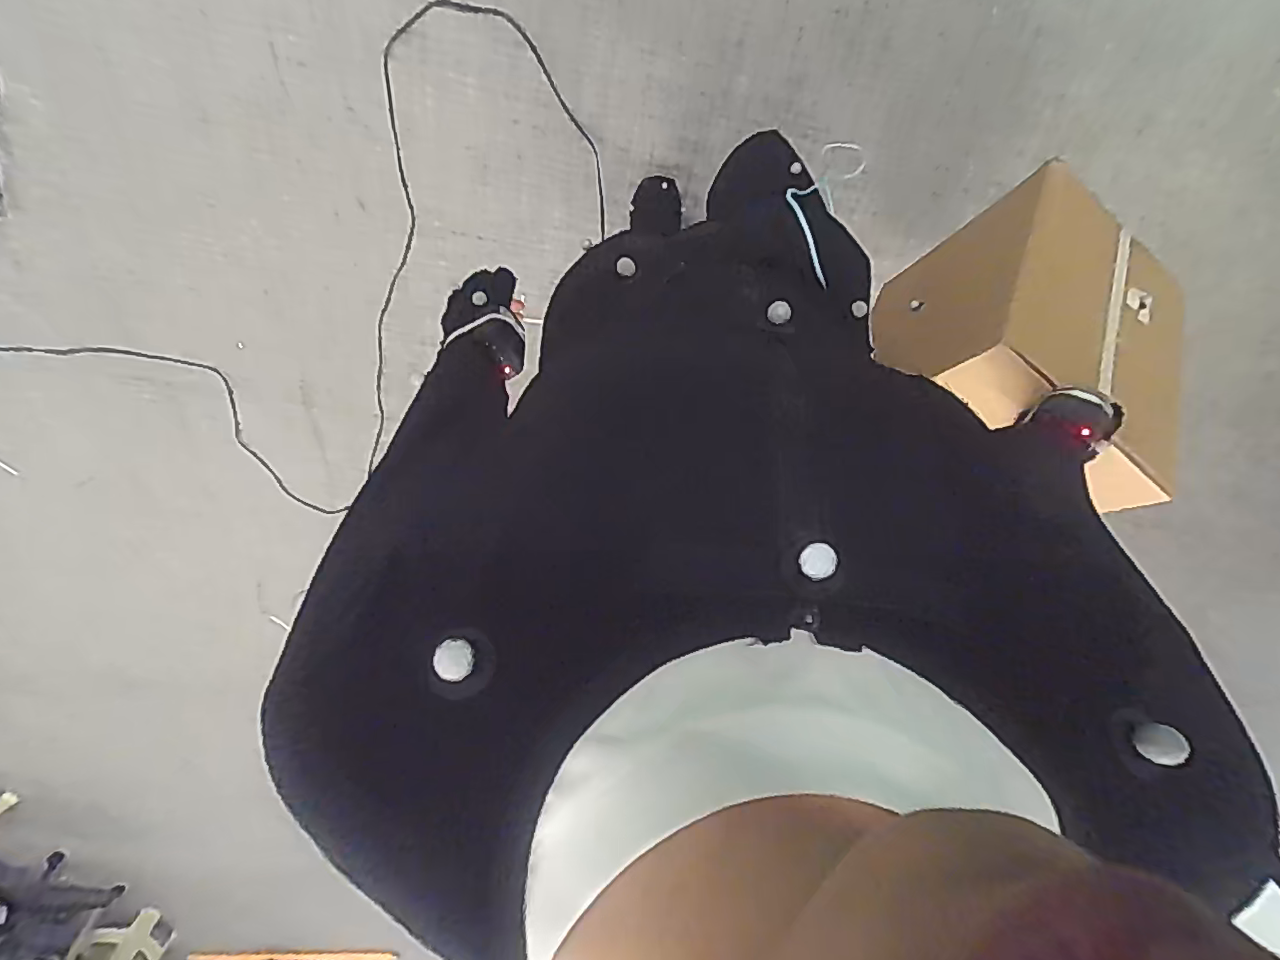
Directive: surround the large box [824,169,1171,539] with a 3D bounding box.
[{"bbox_3d":[0.556,-0.173,0.856,0.320,0.408,0.320,36,153,-11],"label":"large box"}]
